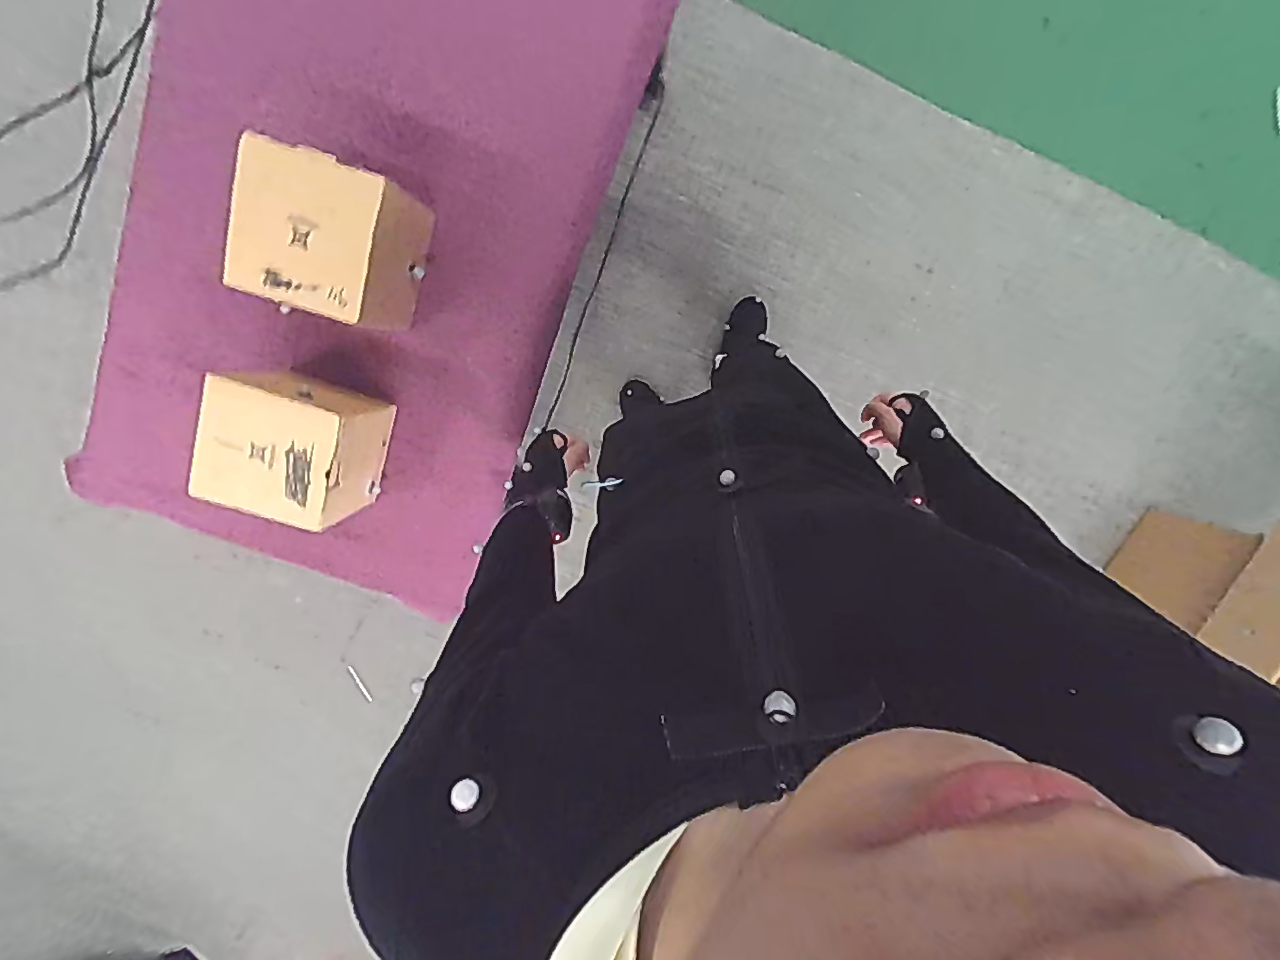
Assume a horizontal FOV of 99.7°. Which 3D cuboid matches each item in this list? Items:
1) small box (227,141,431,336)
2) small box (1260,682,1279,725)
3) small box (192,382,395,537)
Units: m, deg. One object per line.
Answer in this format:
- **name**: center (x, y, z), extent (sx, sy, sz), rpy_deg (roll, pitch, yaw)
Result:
- **small box**: center (-0.399, -0.304, 0.723), extent (0.168, 0.176, 0.179), rpy_deg (17, 101, -4)
- **small box**: center (1.641, 0.555, 1.254), extent (0.179, 0.176, 0.168), rpy_deg (24, 102, -5)
- **small box**: center (-0.483, -0.040, 0.778), extent (0.179, 0.176, 0.168), rpy_deg (18, 101, -4)
